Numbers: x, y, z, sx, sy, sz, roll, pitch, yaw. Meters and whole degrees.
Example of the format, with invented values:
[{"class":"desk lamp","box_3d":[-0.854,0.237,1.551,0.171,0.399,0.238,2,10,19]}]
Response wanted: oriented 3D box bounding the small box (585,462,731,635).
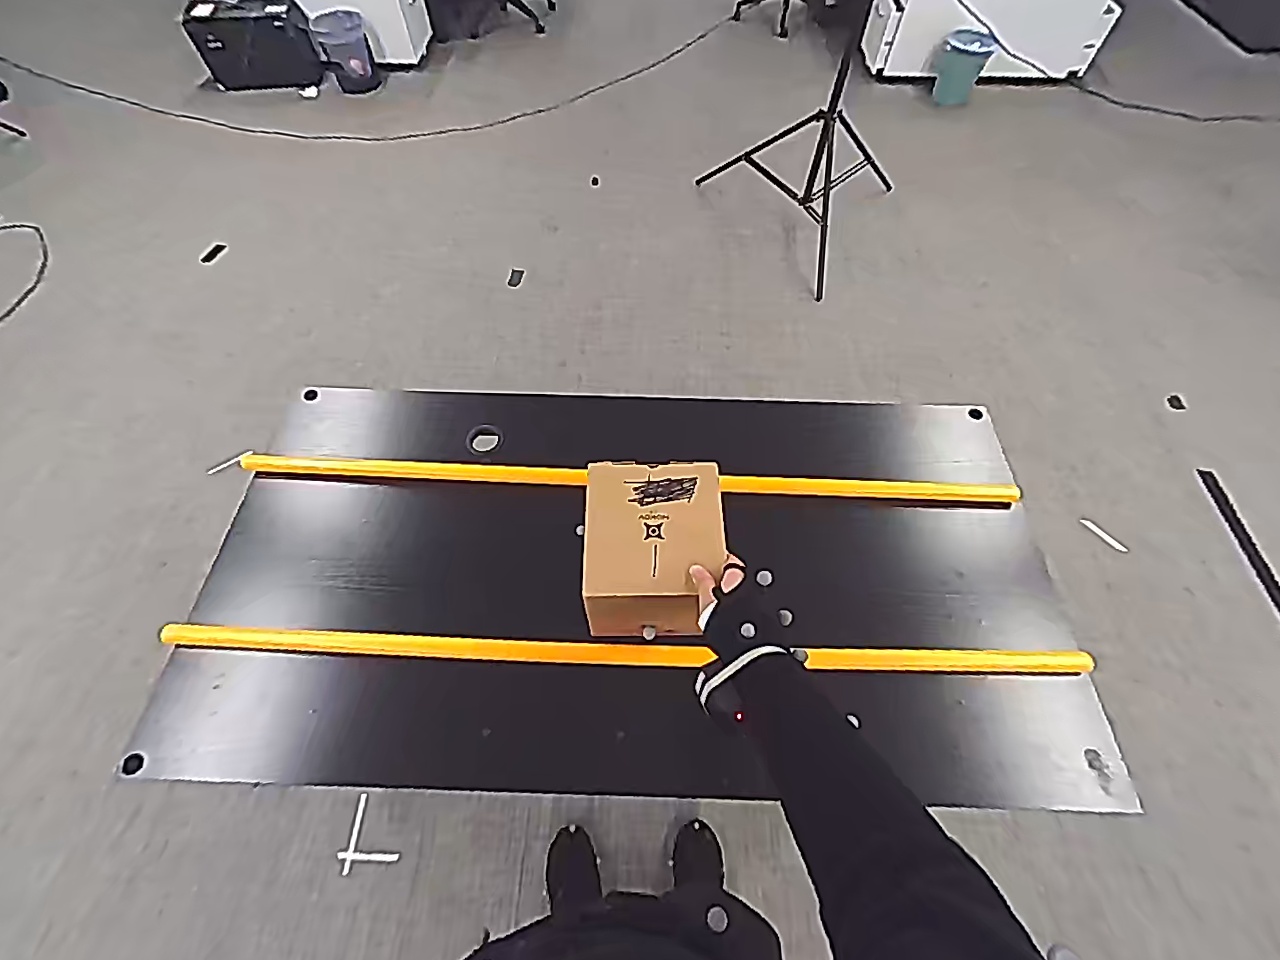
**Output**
[{"class":"small box","box_3d":[0.019,0.093,0.710,0.168,0.176,0.179,0,60,0]}]
